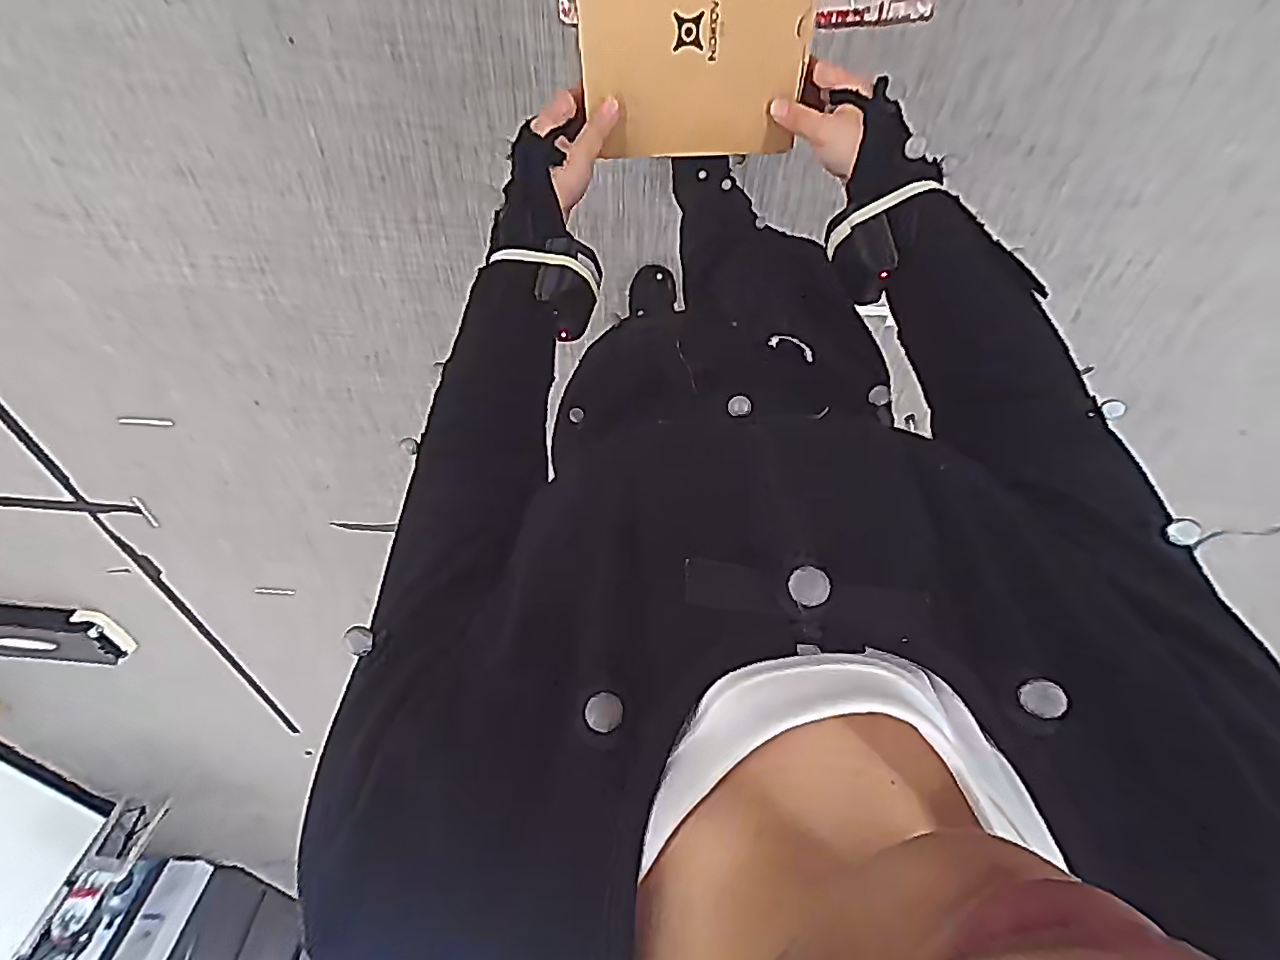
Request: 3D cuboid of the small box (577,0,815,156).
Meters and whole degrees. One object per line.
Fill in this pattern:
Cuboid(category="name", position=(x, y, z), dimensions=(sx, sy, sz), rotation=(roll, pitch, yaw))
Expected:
Cuboid(category="small box", position=(0.041, -0.391, 0.461), dimensions=(0.179, 0.176, 0.168), rotation=(-2, 135, 1))
